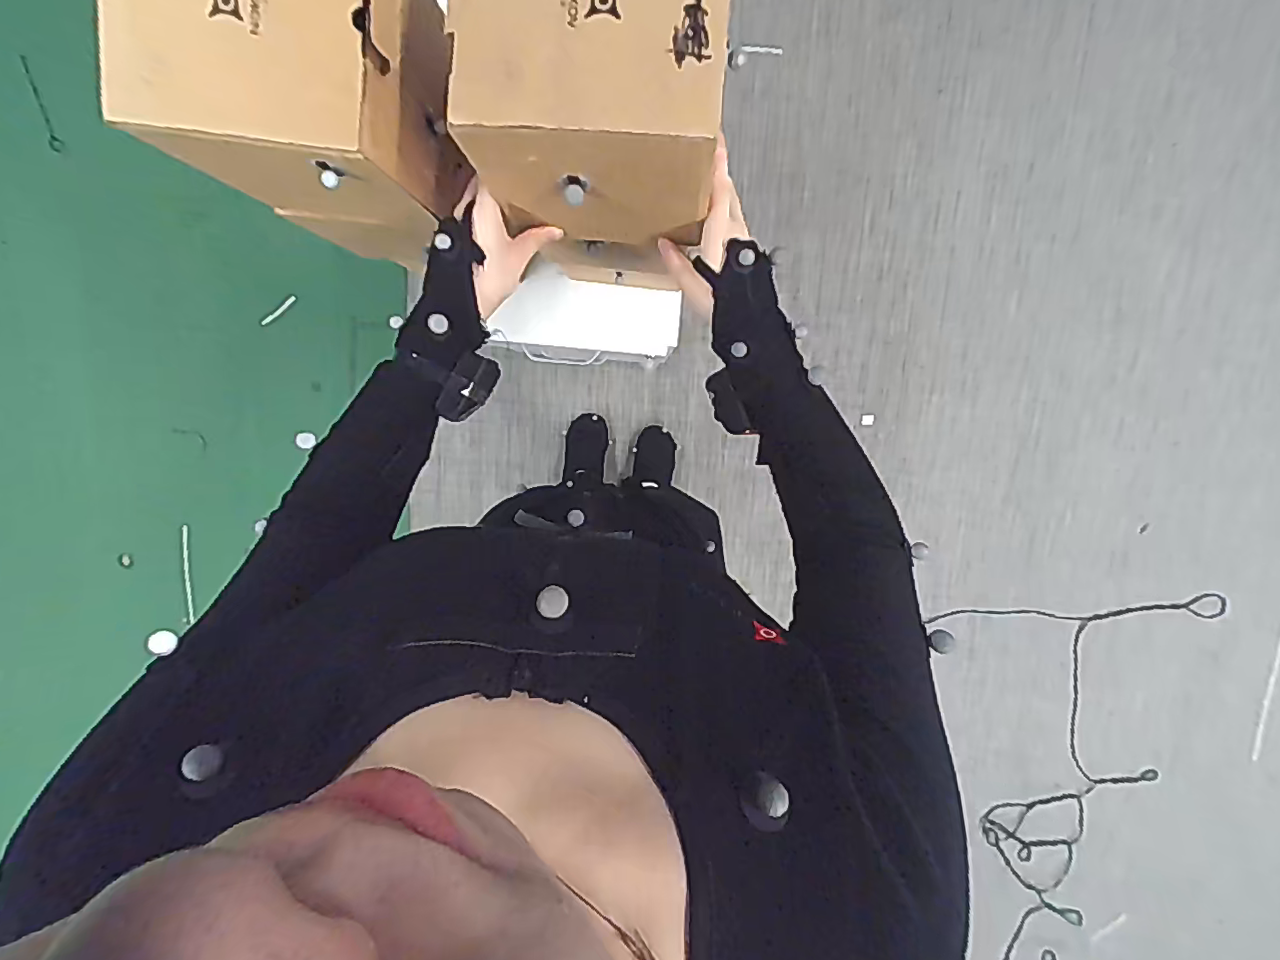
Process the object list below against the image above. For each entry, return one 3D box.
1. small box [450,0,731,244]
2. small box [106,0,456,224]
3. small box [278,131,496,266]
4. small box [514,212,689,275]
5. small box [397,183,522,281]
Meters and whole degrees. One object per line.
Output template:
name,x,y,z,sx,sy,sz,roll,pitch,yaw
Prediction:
small box,-0.025,-0.299,0.420,0.179,0.176,0.168,5,92,3
small box,-0.261,-0.321,0.431,0.179,0.176,0.168,6,99,-2
small box,-0.260,-0.342,0.593,0.179,0.176,0.168,4,98,-1
small box,-0.025,-0.333,0.591,0.179,0.176,0.168,7,100,0
small box,-0.260,-0.384,0.750,0.168,0.176,0.179,5,99,-3
